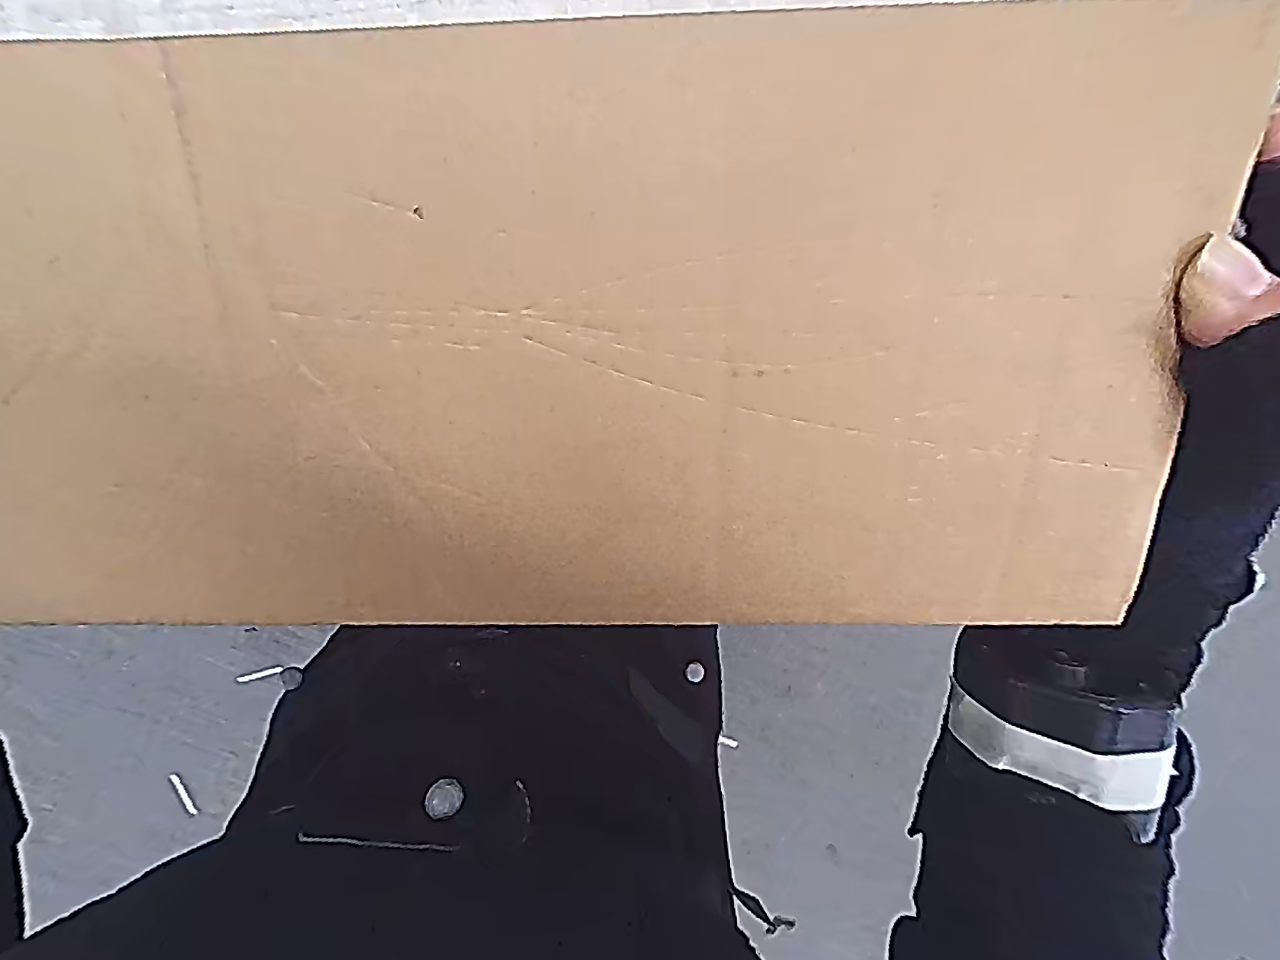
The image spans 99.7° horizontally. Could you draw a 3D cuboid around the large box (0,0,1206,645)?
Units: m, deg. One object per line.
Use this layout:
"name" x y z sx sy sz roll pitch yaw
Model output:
"large box" -0.070 -0.141 0.267 0.408 0.320 0.320 -1 106 1
